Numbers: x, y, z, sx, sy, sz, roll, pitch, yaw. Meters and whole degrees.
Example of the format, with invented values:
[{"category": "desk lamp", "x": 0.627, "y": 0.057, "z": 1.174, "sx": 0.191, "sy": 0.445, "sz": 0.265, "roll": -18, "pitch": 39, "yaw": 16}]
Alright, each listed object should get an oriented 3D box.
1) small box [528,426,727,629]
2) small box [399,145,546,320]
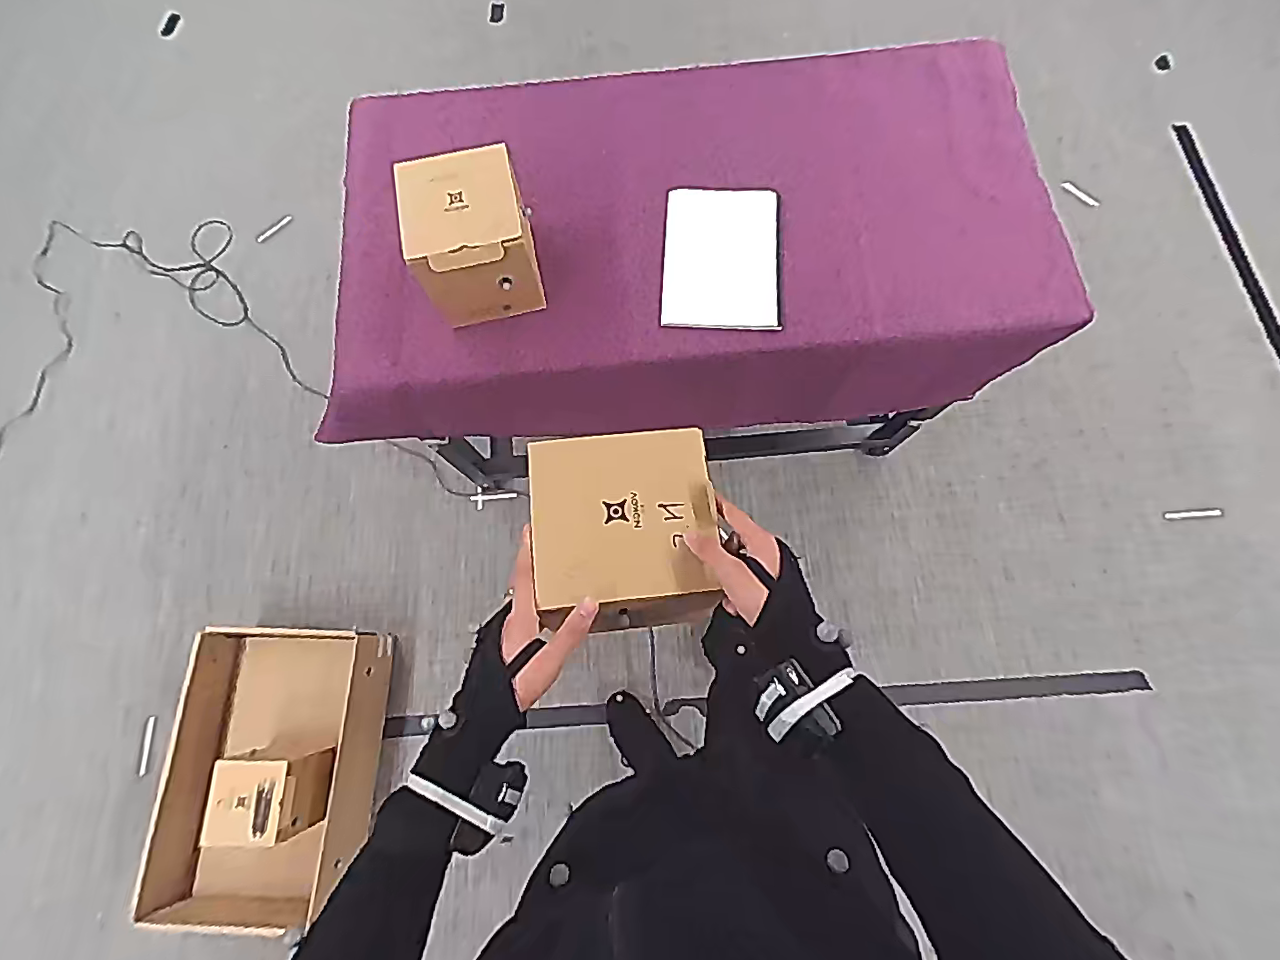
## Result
[{"category": "small box", "x": -0.018, "y": 0.059, "z": 0.577, "sx": 0.179, "sy": 0.176, "sz": 0.168, "roll": -5, "pitch": 67, "yaw": -5}, {"category": "small box", "x": -0.249, "y": -0.367, "z": 0.836, "sx": 0.168, "sy": 0.176, "sz": 0.179, "roll": -12, "pitch": 74, "yaw": -2}]
